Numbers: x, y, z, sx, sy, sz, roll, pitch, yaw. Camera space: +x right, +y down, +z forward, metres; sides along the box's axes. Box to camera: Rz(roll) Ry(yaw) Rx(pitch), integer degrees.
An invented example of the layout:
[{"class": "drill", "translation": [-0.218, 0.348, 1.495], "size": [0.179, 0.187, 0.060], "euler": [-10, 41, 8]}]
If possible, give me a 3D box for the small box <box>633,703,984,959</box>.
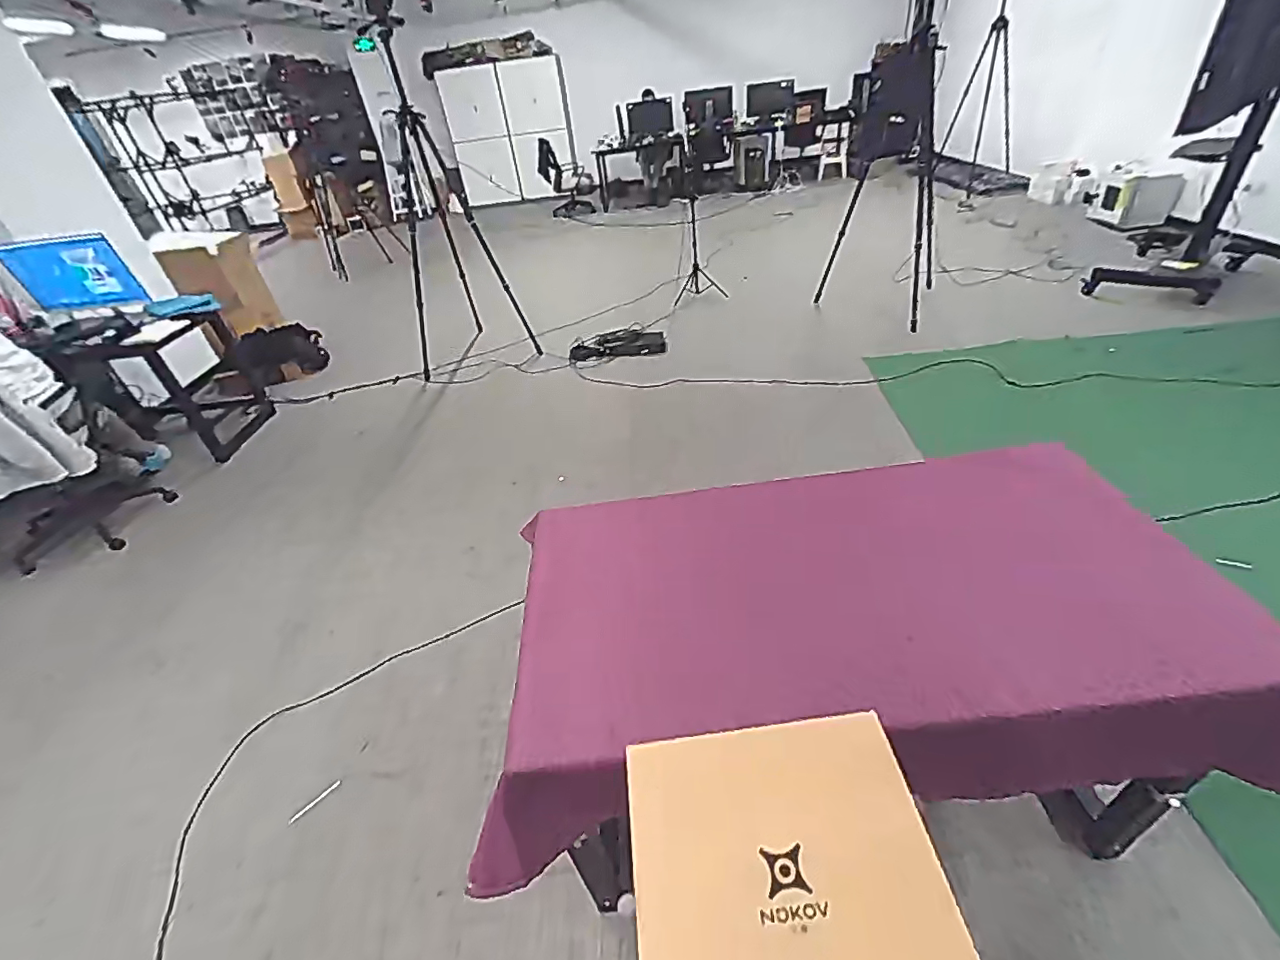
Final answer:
[{"class": "small box", "translation": [0.091, 0.272, 0.343], "size": [0.168, 0.176, 0.179], "euler": [-9, 41, 2]}]
